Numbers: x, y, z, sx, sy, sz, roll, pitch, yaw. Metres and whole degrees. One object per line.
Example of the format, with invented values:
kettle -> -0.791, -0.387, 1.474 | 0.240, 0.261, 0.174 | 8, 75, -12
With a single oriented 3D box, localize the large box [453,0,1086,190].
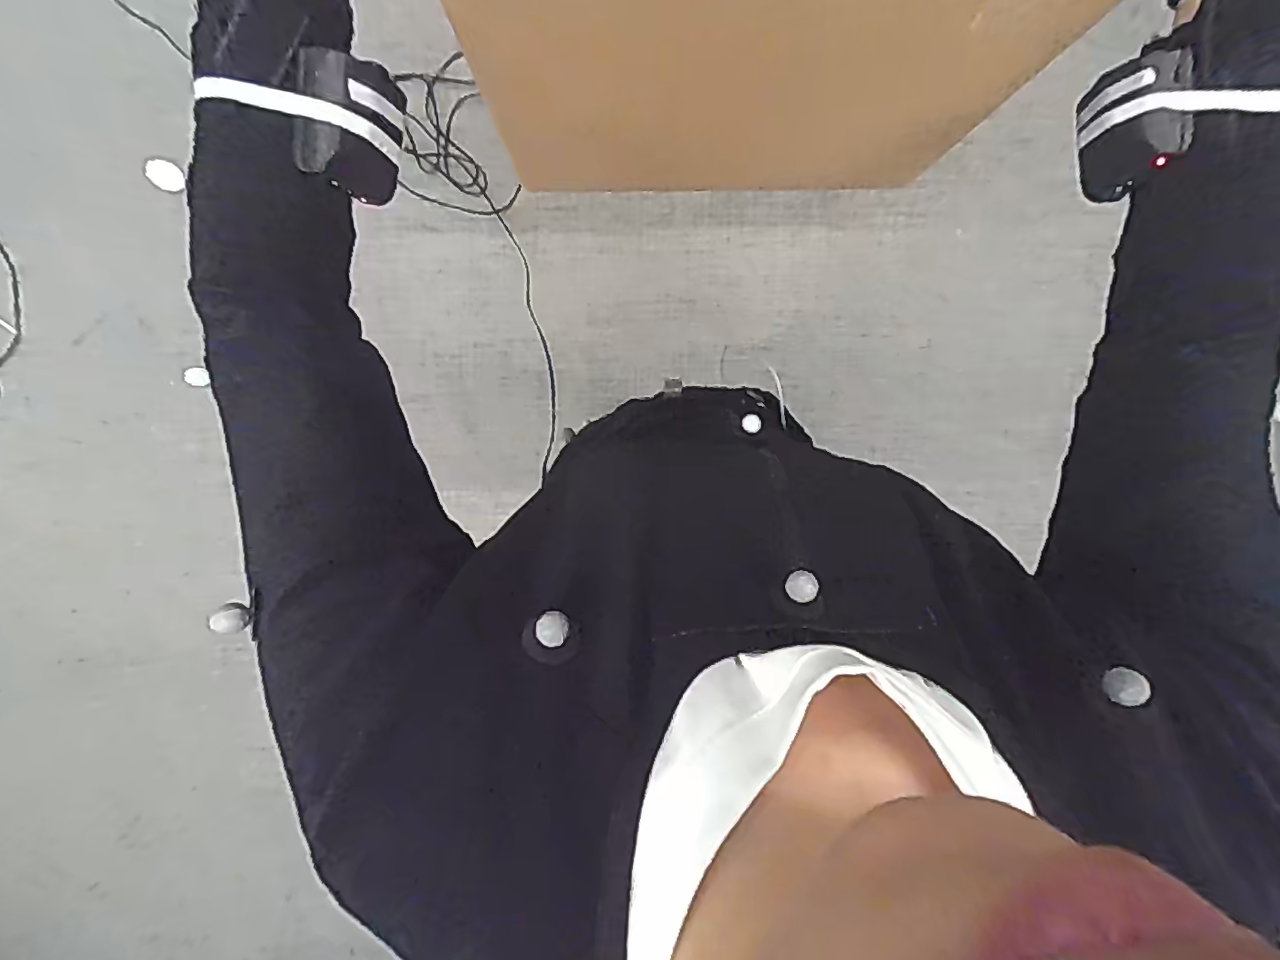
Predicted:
large box -> 0.075, -0.445, 0.401 | 0.408, 0.320, 0.320 | -2, 96, -1
